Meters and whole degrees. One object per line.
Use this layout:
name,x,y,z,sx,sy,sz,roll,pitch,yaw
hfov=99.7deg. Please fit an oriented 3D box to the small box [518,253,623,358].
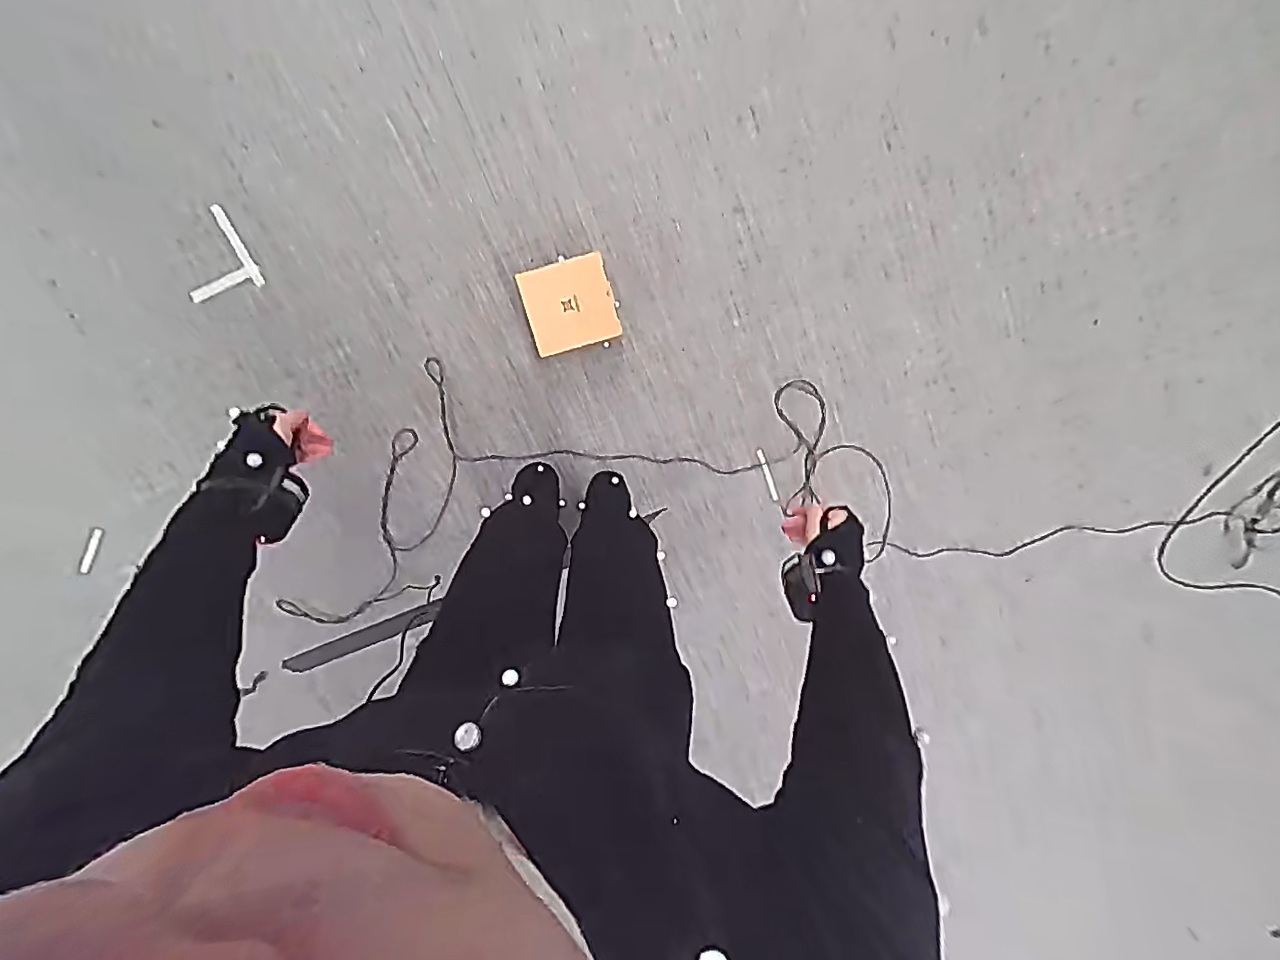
small box,-0.140,-0.360,1.148,0.179,0.176,0.168,-17,102,0
